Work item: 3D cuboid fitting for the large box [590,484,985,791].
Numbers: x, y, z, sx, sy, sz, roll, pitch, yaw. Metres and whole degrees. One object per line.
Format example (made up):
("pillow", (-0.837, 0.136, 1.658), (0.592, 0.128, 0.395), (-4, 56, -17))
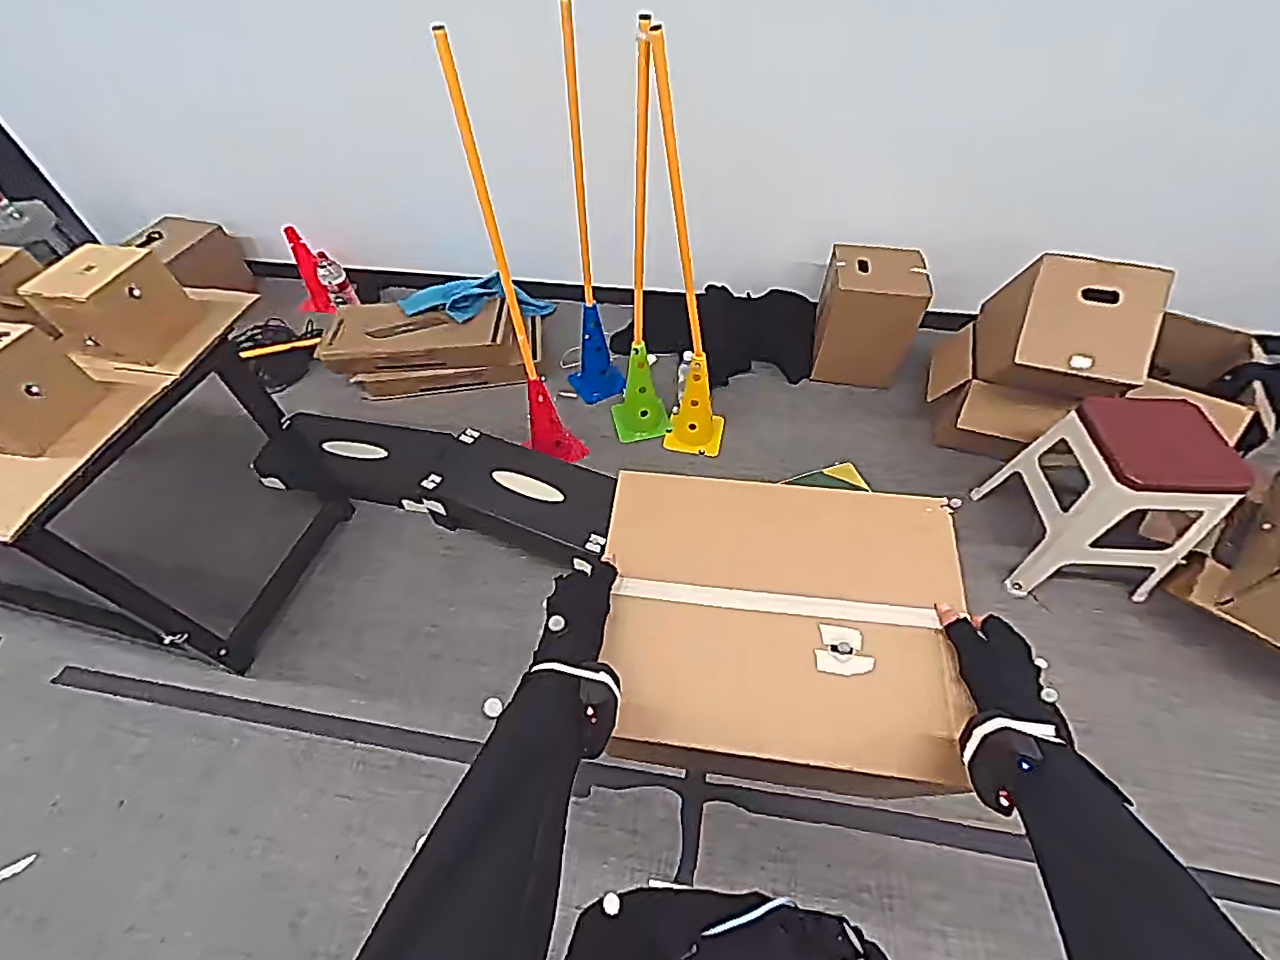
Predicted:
("large box", (0.164, 0.227, 0.748), (0.408, 0.320, 0.320), (5, 60, 6))
